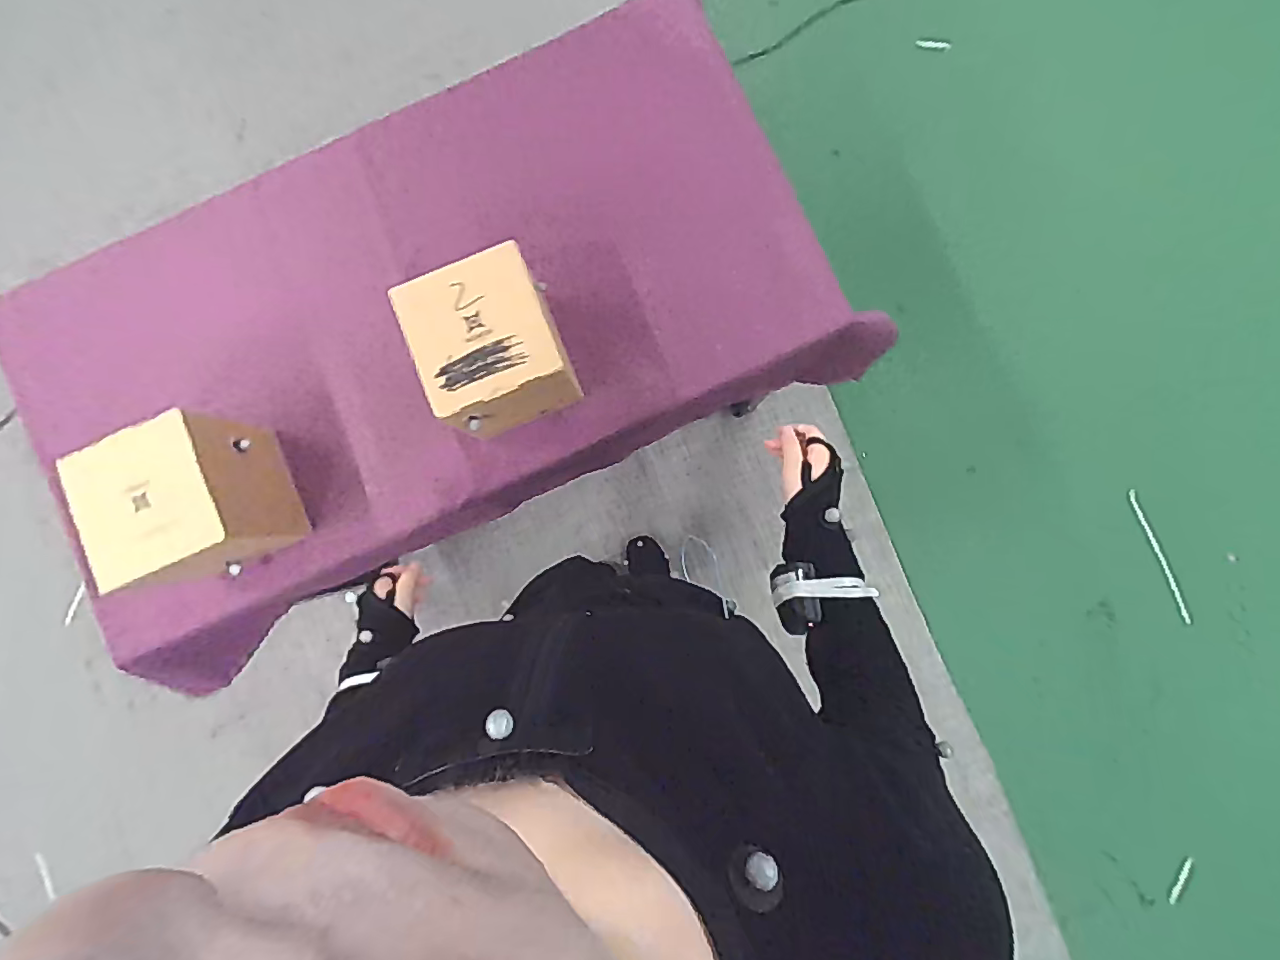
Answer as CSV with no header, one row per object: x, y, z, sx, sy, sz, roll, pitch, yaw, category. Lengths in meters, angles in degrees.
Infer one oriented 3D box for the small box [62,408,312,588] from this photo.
-0.593,0.027,0.731,0.168,0.176,0.179,-24,86,1,small box
